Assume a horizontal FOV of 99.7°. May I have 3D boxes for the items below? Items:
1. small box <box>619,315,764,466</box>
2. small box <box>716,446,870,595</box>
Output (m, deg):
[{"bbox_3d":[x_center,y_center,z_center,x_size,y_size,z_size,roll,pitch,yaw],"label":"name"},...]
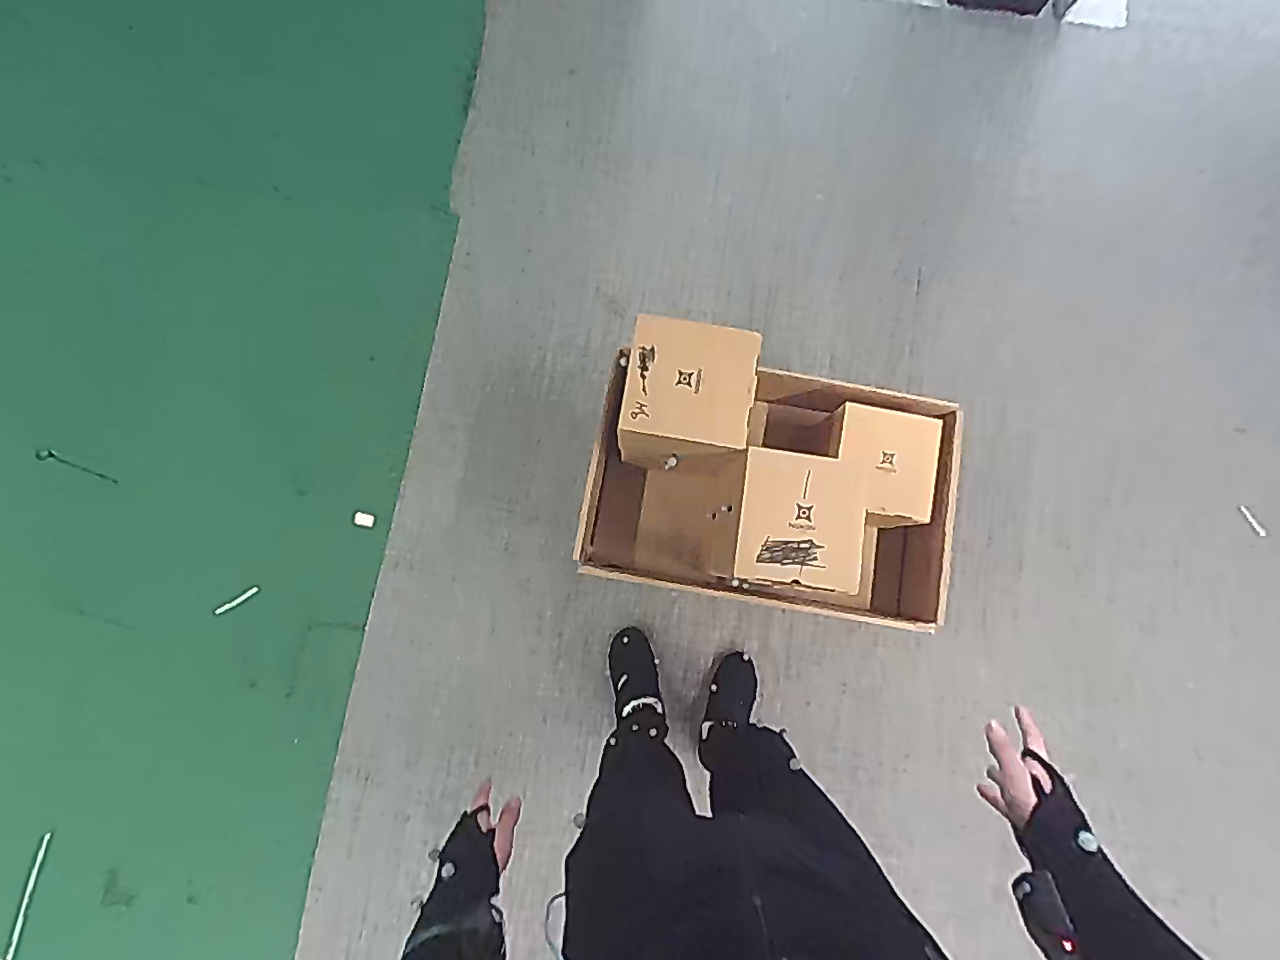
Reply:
[{"bbox_3d":[0.068,-0.122,0.809,0.179,0.176,0.168,10,82,-1],"label":"small box"},{"bbox_3d":[0.210,0.062,0.784,0.168,0.176,0.179,9,81,0],"label":"small box"}]
